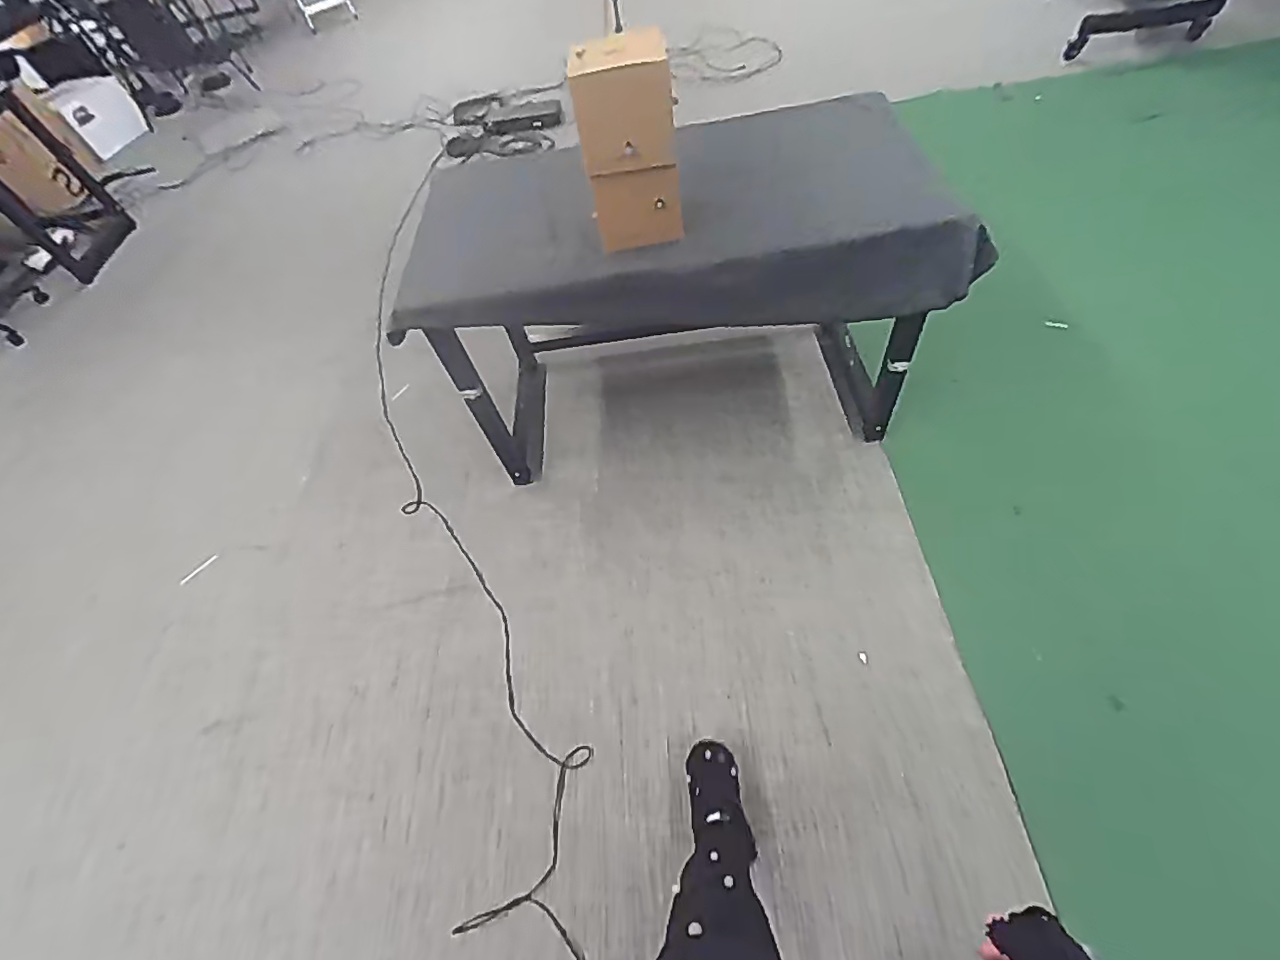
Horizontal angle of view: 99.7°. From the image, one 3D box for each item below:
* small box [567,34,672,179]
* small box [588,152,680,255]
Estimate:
[{"bbox_3d":[-0.032,-0.697,1.017,0.179,0.176,0.168,-6,53,4],"label":"small box"},{"bbox_3d":[-0.011,-0.609,1.153,0.179,0.176,0.168,-9,53,4],"label":"small box"}]
